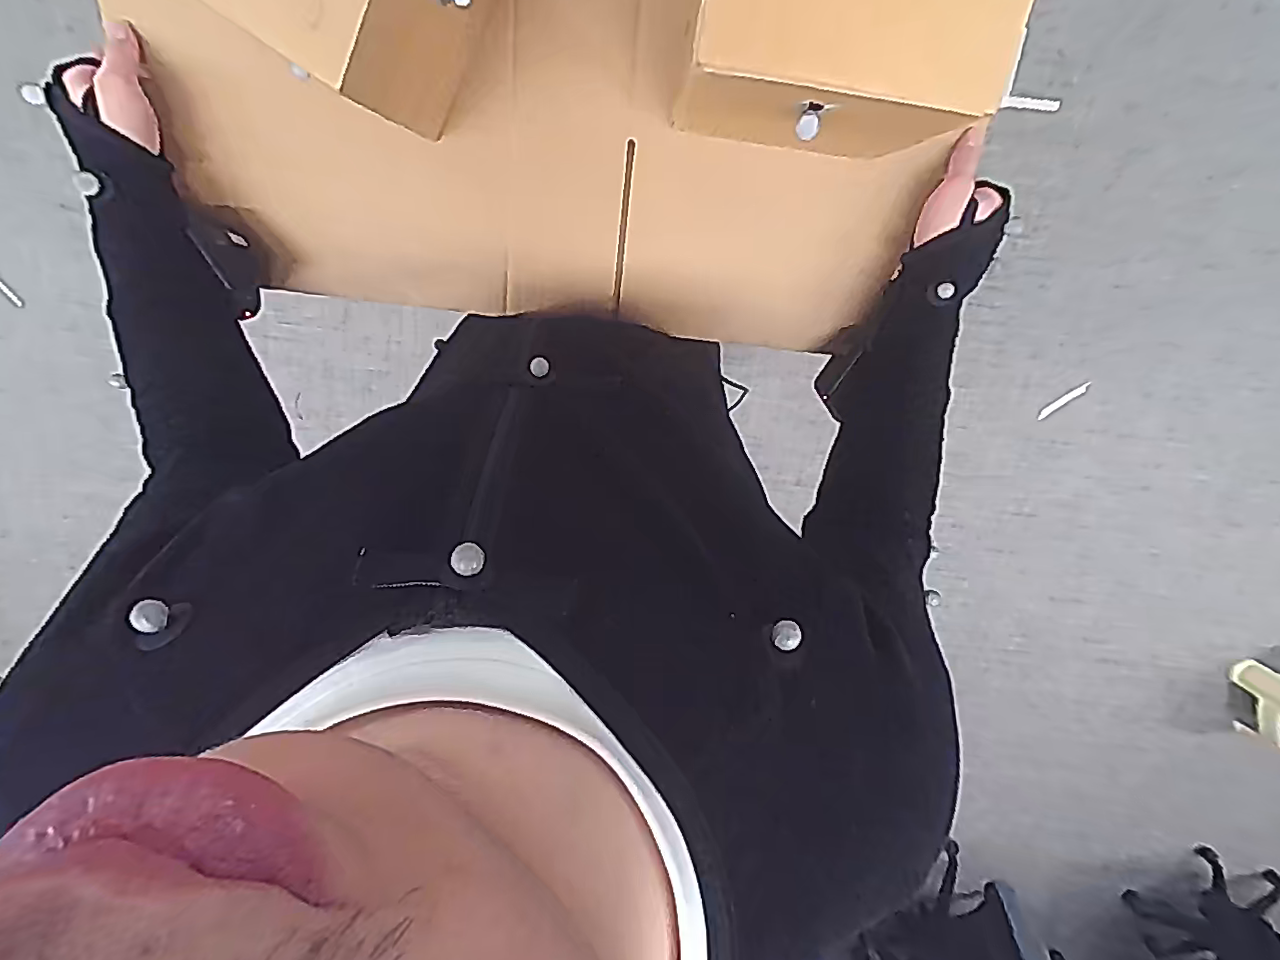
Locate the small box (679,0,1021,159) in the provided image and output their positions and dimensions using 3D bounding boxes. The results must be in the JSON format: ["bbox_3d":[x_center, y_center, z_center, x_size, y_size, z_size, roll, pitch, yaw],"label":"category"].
[{"bbox_3d":[0.129,-0.327,0.361,0.179,0.176,0.168,7,113,-3],"label":"small box"}]
